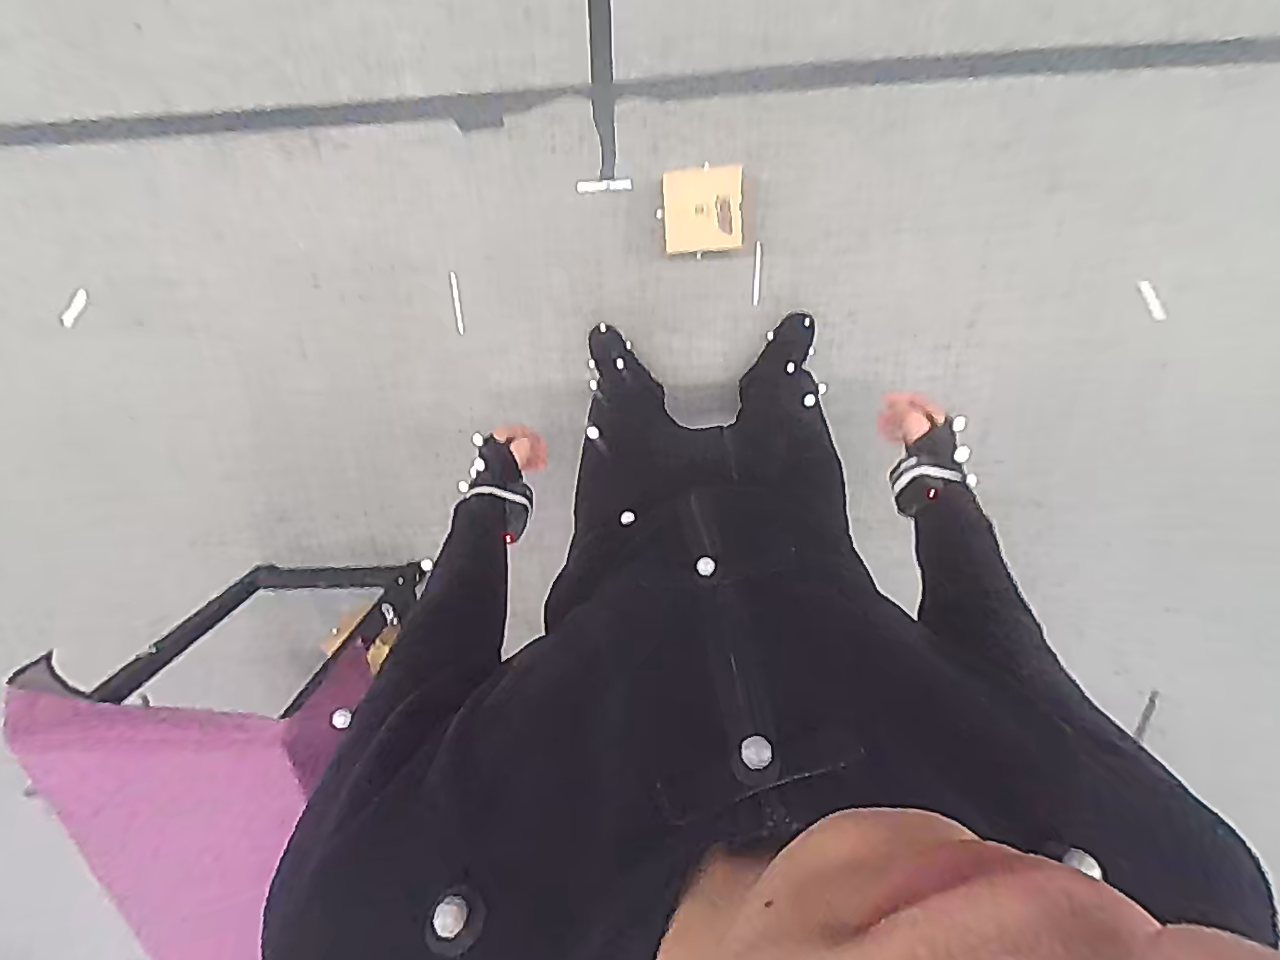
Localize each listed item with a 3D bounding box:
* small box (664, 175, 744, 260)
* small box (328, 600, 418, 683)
[{"bbox_3d":[0.148,-0.622,1.289,0.179,0.176,0.168,-3,112,4],"label":"small box"},{"bbox_3d":[-0.887,0.537,1.814,0.179,0.176,0.168,-28,109,14],"label":"small box"}]
